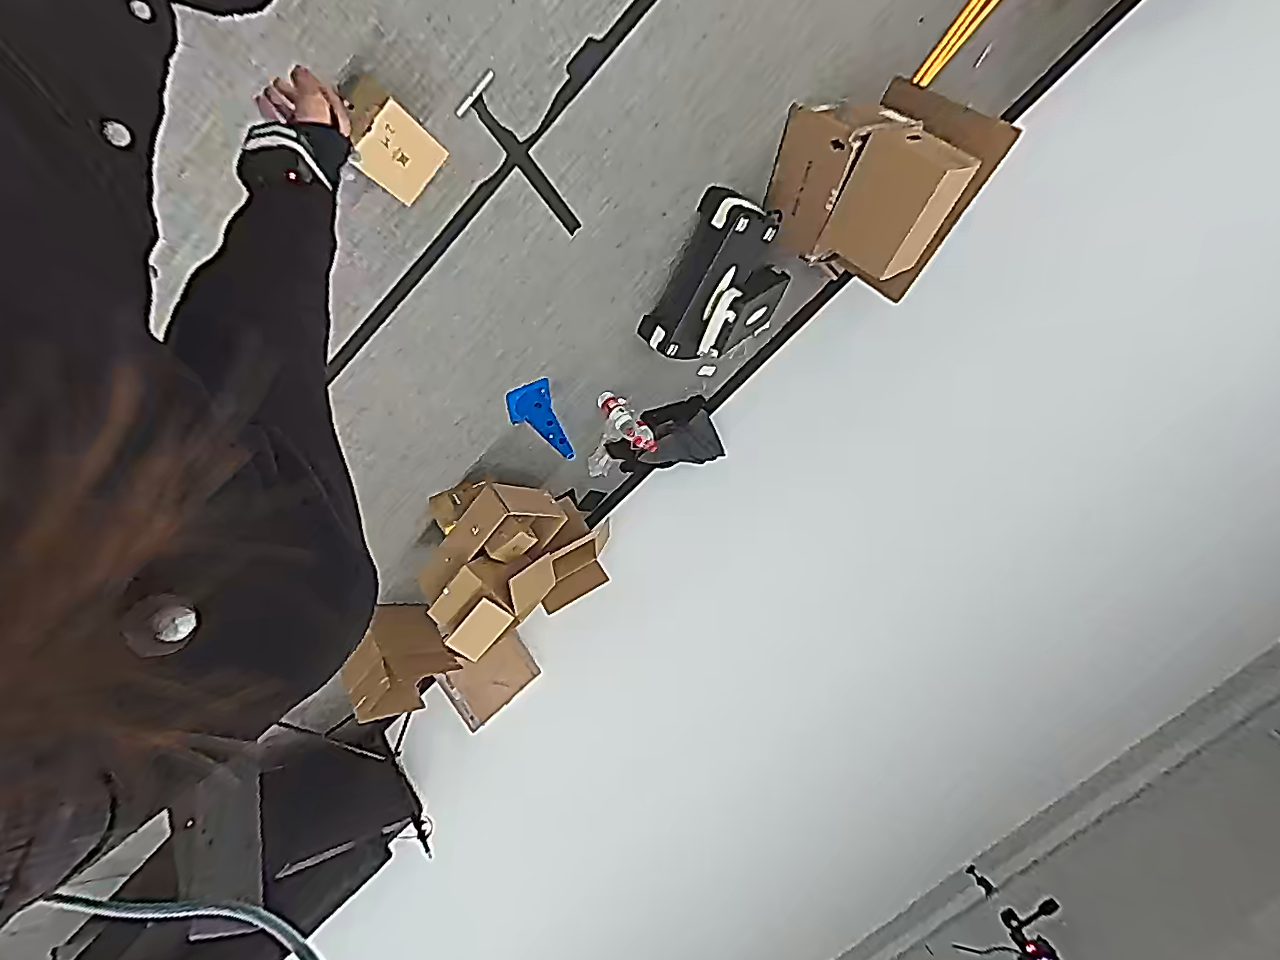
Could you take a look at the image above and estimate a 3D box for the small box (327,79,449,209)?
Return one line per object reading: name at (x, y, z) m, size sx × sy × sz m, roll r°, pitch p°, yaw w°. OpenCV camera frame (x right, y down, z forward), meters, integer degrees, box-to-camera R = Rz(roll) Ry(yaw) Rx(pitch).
small box at (-0.602, -0.802, 1.290) m, size 0.168 × 0.176 × 0.179 m, roll -45°, pitch 152°, yaw 12°
